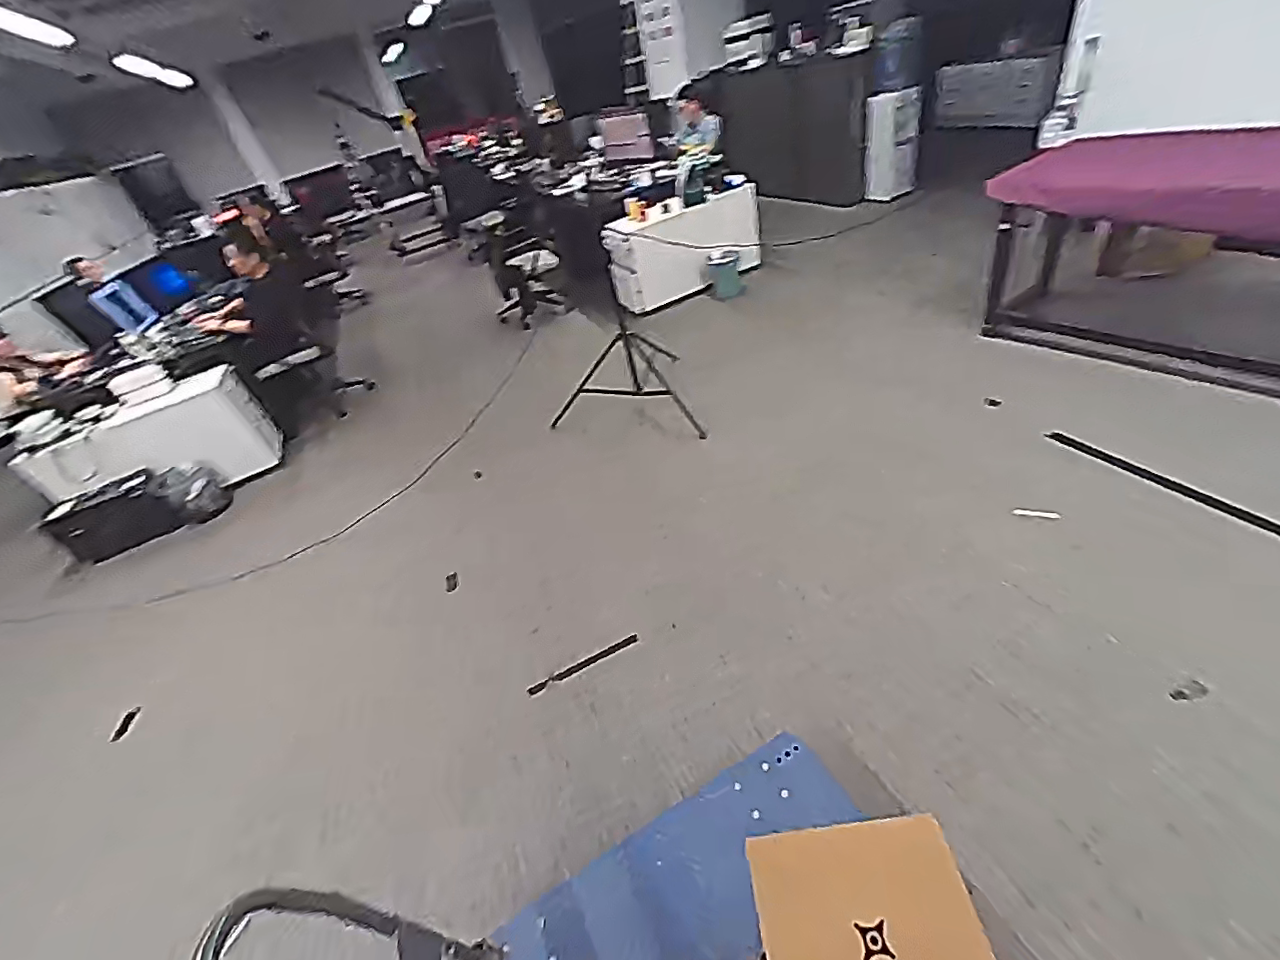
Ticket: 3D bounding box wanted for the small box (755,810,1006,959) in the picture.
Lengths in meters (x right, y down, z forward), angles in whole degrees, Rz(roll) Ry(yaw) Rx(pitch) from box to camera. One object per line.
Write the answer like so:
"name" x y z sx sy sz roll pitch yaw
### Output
"small box" 0.195 0.409 0.453 0.168 0.176 0.179 -10 41 4
